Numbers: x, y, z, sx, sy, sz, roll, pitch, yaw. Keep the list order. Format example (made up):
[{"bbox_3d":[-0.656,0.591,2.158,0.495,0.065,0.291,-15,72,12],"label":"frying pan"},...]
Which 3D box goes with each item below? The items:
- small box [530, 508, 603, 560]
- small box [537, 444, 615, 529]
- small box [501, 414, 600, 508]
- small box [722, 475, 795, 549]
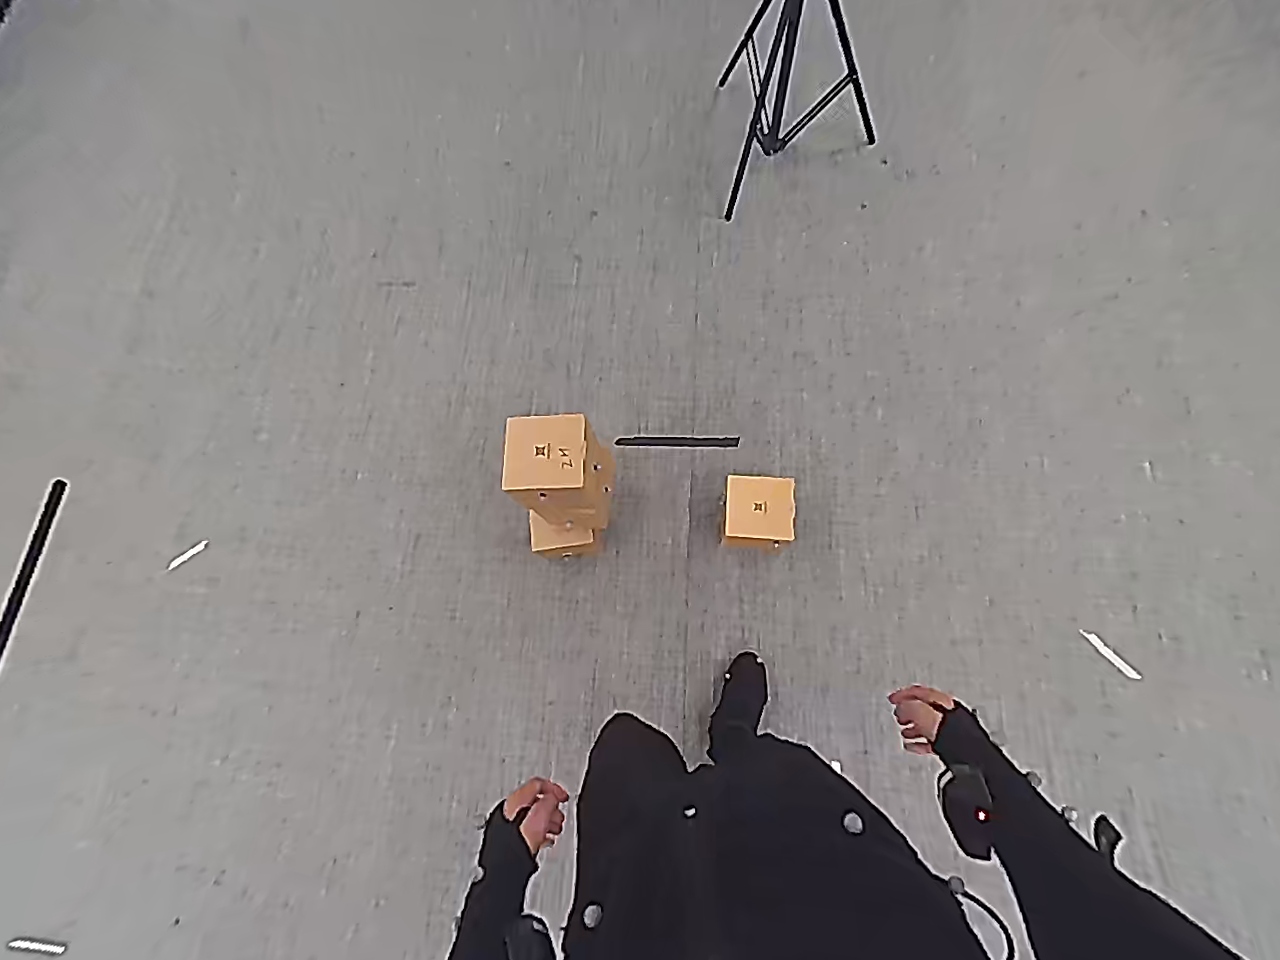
[{"bbox_3d":[-0.203,0.115,1.500,0.168,0.176,0.179,-9,73,3],"label":"small box"},{"bbox_3d":[-0.161,0.013,1.355,0.168,0.176,0.179,5,74,8],"label":"small box"},{"bbox_3d":[-0.191,-0.035,1.201,0.179,0.176,0.168,-2,73,5],"label":"small box"},{"bbox_3d":[0.316,0.091,1.461,0.179,0.176,0.168,3,74,5],"label":"small box"}]
